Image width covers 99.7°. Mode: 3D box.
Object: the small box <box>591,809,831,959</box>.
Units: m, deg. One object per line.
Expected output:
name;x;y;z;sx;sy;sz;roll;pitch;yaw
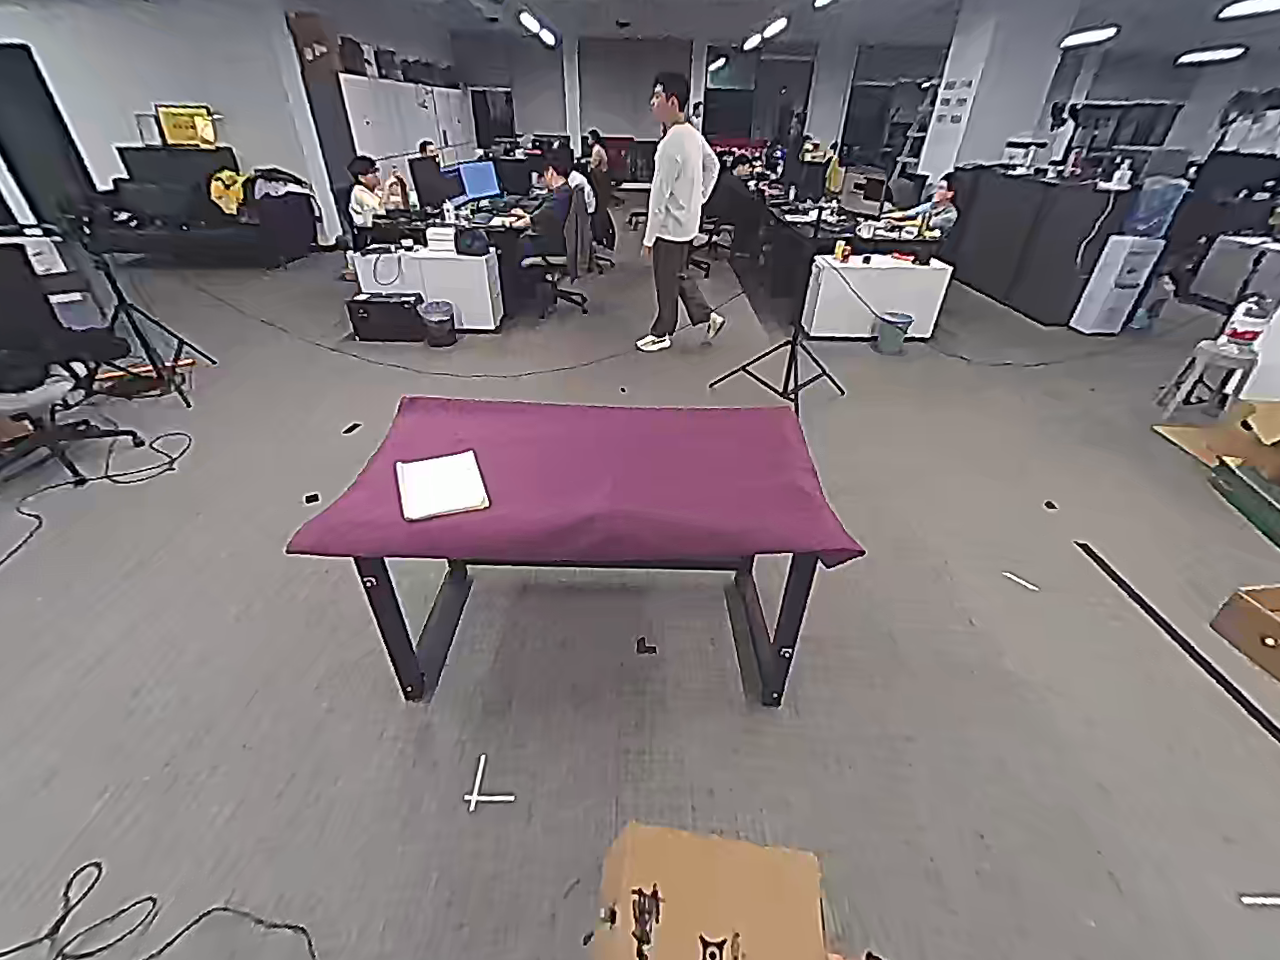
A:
small box;0.054;0.416;0.482;0.179;0.176;0.168;11;47;-3
